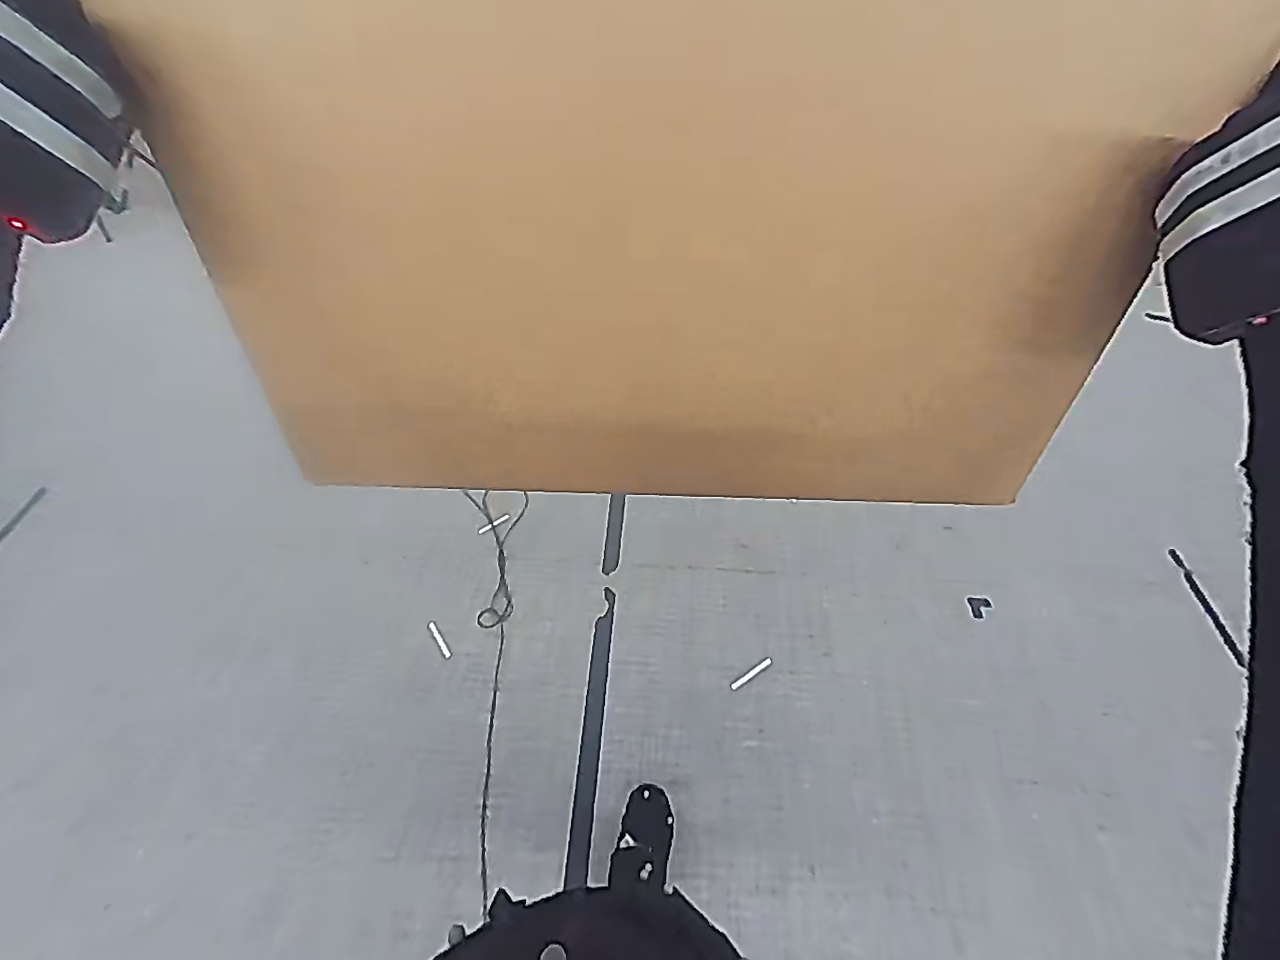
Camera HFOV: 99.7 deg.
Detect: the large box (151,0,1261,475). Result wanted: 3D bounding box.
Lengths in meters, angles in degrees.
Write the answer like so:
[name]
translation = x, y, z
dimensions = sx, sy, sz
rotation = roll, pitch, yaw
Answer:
[large box]
translation = 0.020, -0.216, 0.340
dimensions = 0.408, 0.320, 0.320
rotation = 2, 39, -1
